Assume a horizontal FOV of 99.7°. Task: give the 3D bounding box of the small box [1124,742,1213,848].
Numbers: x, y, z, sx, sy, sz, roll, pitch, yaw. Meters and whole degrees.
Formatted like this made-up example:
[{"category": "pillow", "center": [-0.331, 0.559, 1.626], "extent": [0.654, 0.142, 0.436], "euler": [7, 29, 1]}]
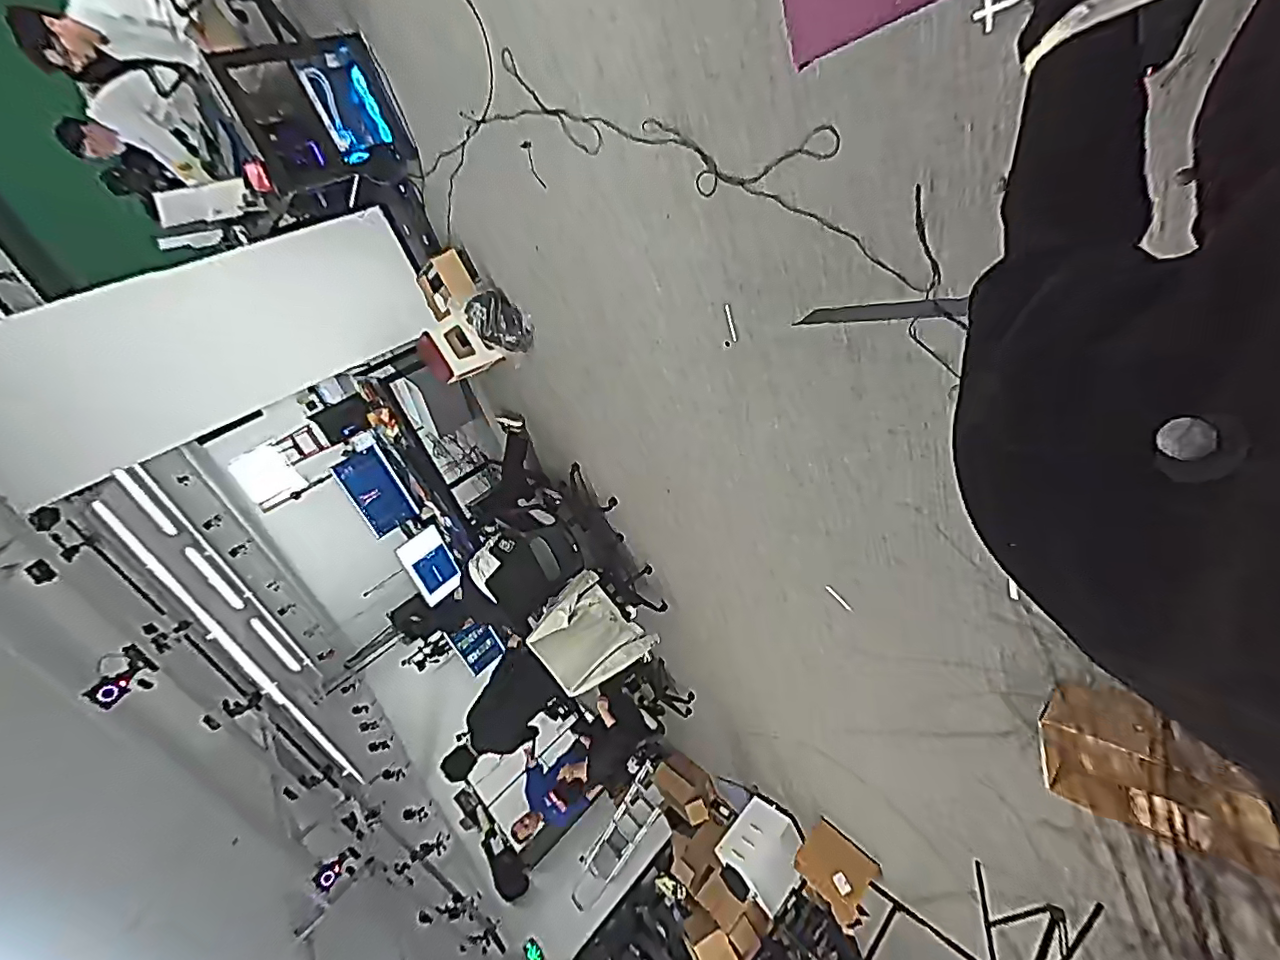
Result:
[{"category": "small box", "center": [1.576, 0.929, 1.610], "extent": [0.168, 0.176, 0.179], "euler": [6, 128, 52]}]
